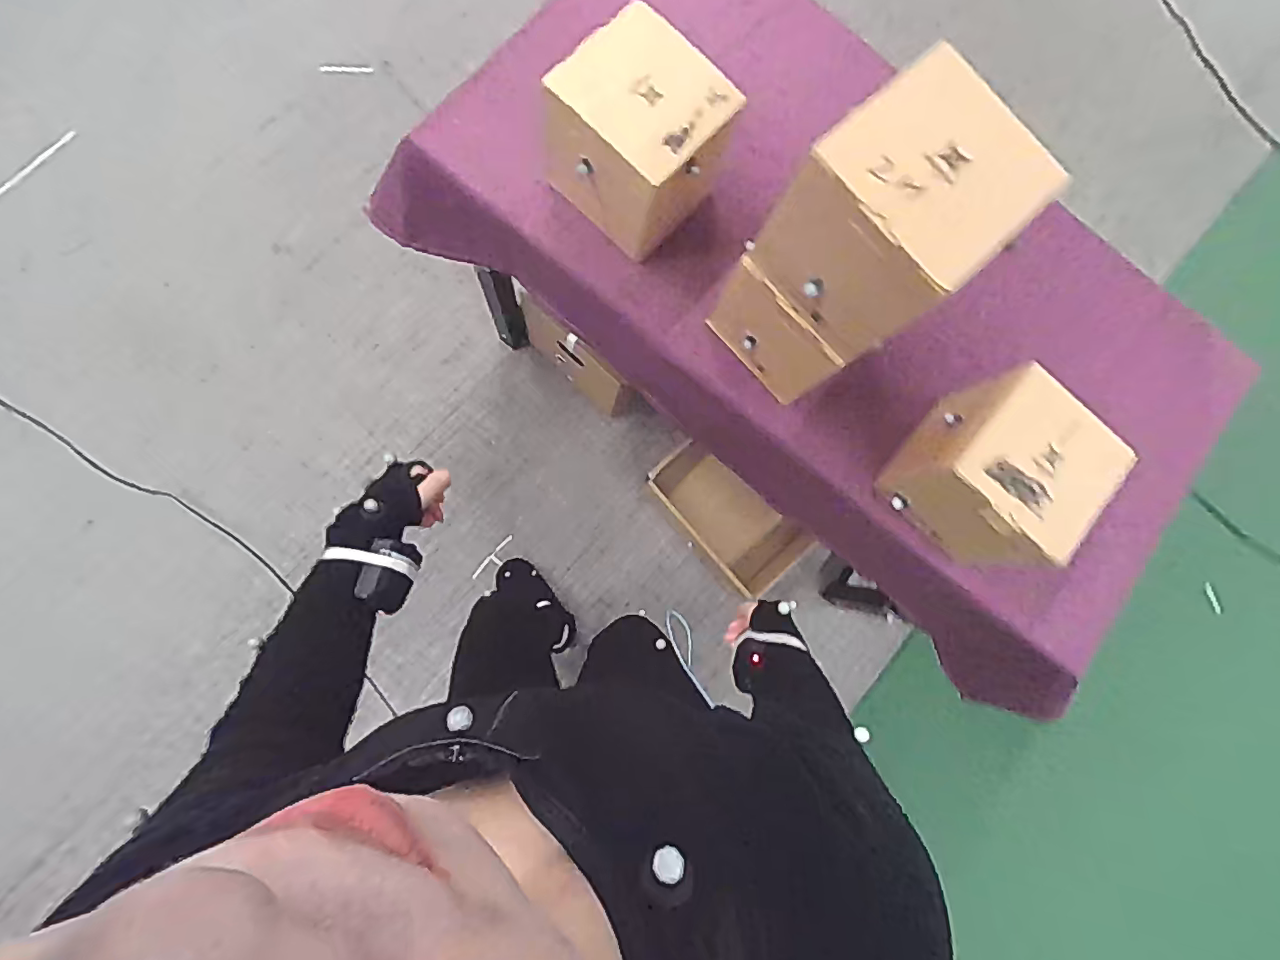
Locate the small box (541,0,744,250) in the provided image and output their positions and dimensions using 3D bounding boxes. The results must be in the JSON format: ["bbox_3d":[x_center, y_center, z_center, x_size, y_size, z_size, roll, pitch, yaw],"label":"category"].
[{"bbox_3d":[-0.004,-0.437,0.690,0.179,0.176,0.168,42,81,0],"label":"small box"}]

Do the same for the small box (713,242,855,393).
[{"bbox_3d":[0.220,-0.241,0.699,0.179,0.176,0.168,-43,90,-8],"label":"small box"}]

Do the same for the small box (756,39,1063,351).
[{"bbox_3d":[0.246,-0.262,0.537,0.179,0.176,0.168,-42,90,-9],"label":"small box"}]

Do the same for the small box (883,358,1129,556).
[{"bbox_3d":[0.452,-0.019,0.701,0.168,0.176,0.179,42,80,-1],"label":"small box"}]
